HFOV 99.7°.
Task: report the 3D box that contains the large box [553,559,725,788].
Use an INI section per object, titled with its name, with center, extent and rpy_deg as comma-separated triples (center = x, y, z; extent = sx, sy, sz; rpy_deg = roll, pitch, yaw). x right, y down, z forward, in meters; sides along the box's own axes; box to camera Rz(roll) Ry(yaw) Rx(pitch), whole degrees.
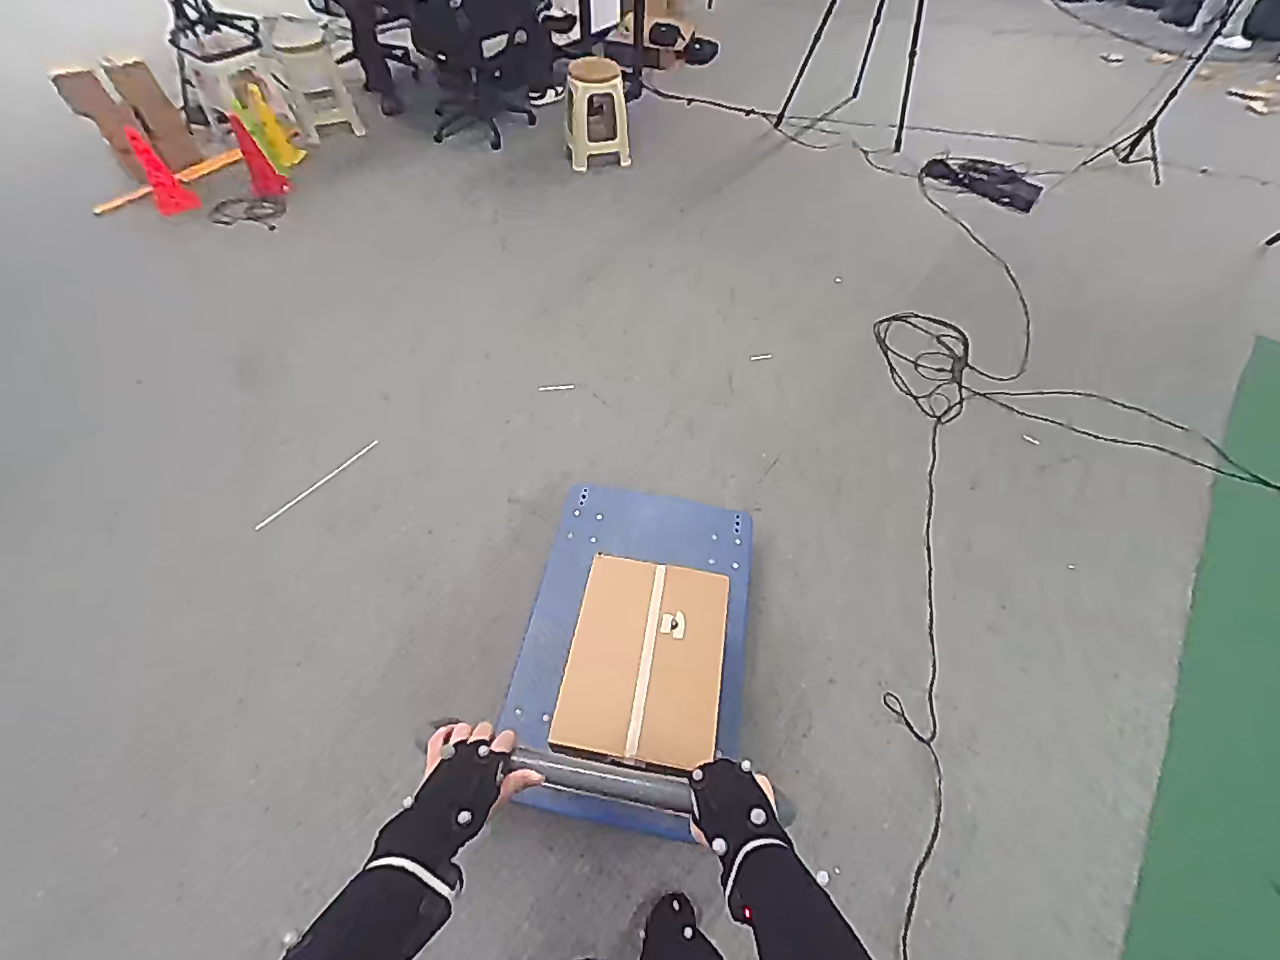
[large box]
center = 0.009, 0.450, 1.254
extent = 0.320, 0.320, 0.408
rpy_deg = 10, 54, 4
